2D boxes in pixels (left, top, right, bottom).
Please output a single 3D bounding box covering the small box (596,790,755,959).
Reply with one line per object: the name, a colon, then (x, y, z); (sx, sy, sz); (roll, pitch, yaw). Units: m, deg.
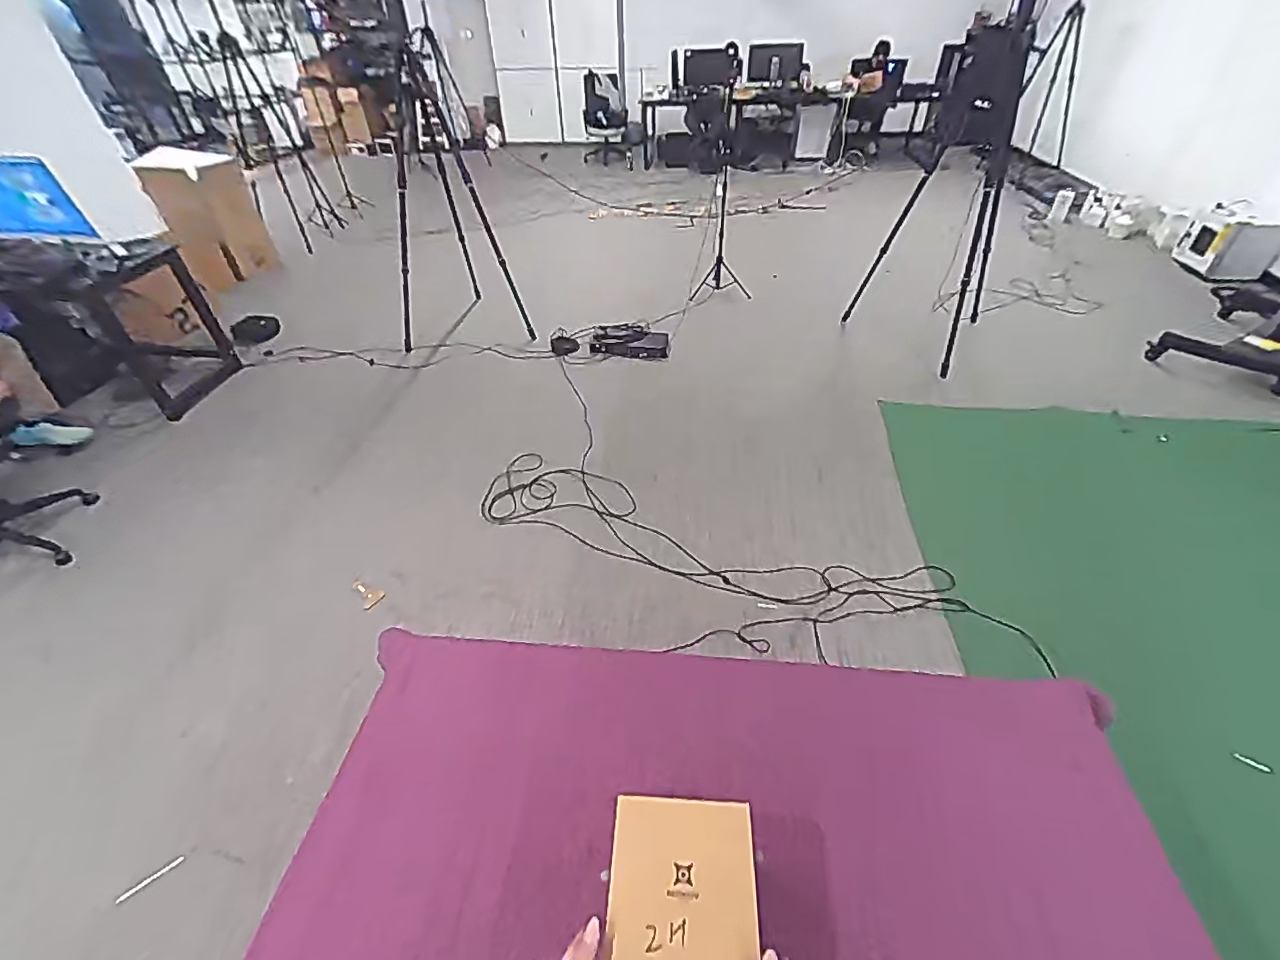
small box: (0.044, 0.508, 0.657); (0.168, 0.176, 0.179); (2, 41, 5)
